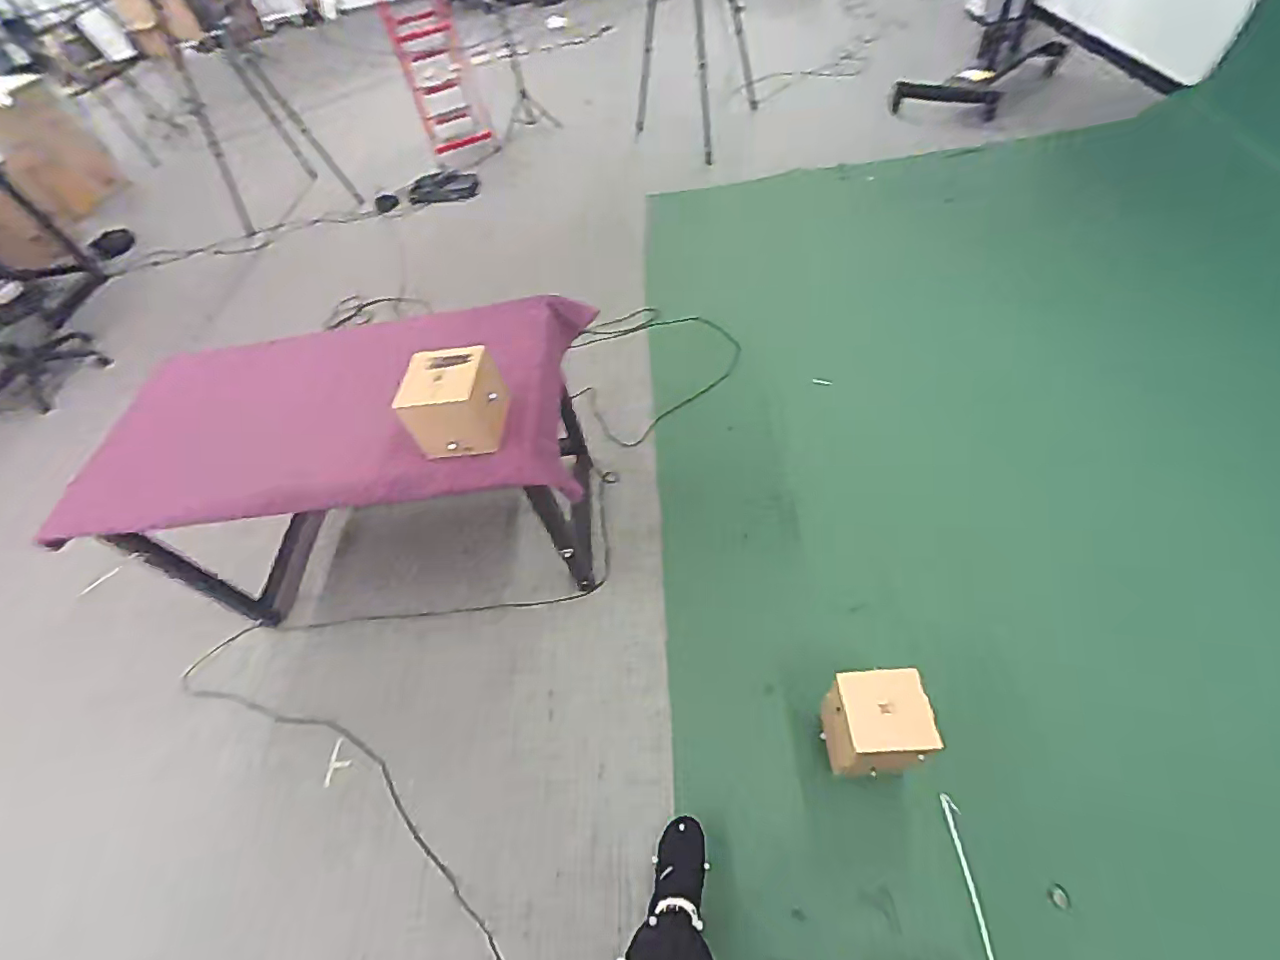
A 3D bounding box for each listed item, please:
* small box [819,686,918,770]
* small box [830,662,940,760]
[{"bbox_3d":[0.560,0.618,1.350,0.179,0.176,0.168,-6,53,6],"label":"small box"},{"bbox_3d":[0.537,0.525,1.220,0.179,0.176,0.168,-6,52,5],"label":"small box"}]
